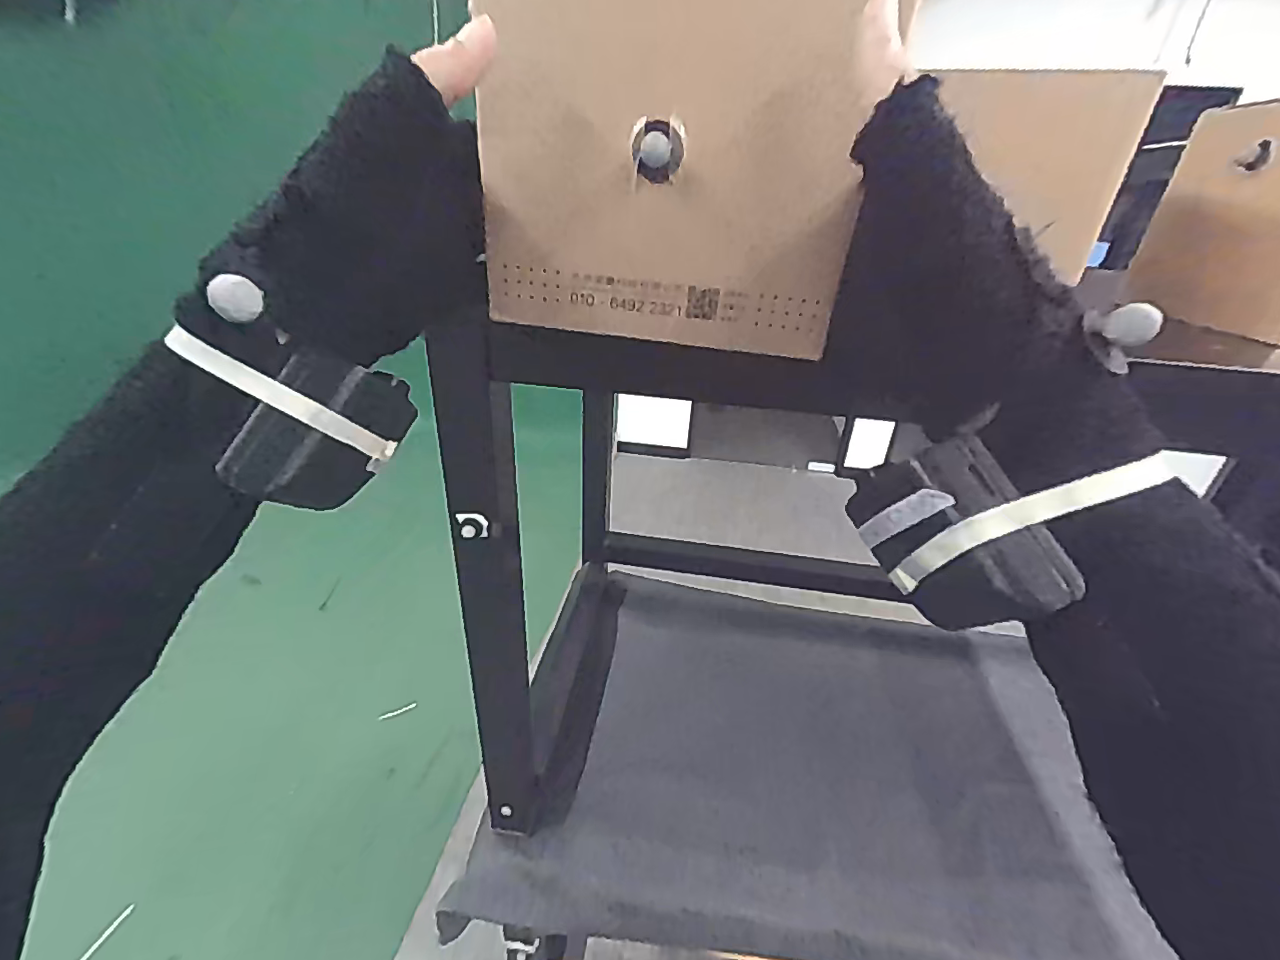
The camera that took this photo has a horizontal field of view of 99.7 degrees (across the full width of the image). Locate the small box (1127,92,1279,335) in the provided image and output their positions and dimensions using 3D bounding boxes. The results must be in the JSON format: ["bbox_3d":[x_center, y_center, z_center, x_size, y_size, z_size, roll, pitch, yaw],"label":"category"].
[{"bbox_3d":[0.559,-0.204,0.427,0.168,0.176,0.179,5,28,2],"label":"small box"}]

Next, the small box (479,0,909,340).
[{"bbox_3d":[0.025,-0.184,0.288,0.168,0.176,0.179,8,31,3],"label":"small box"}]
